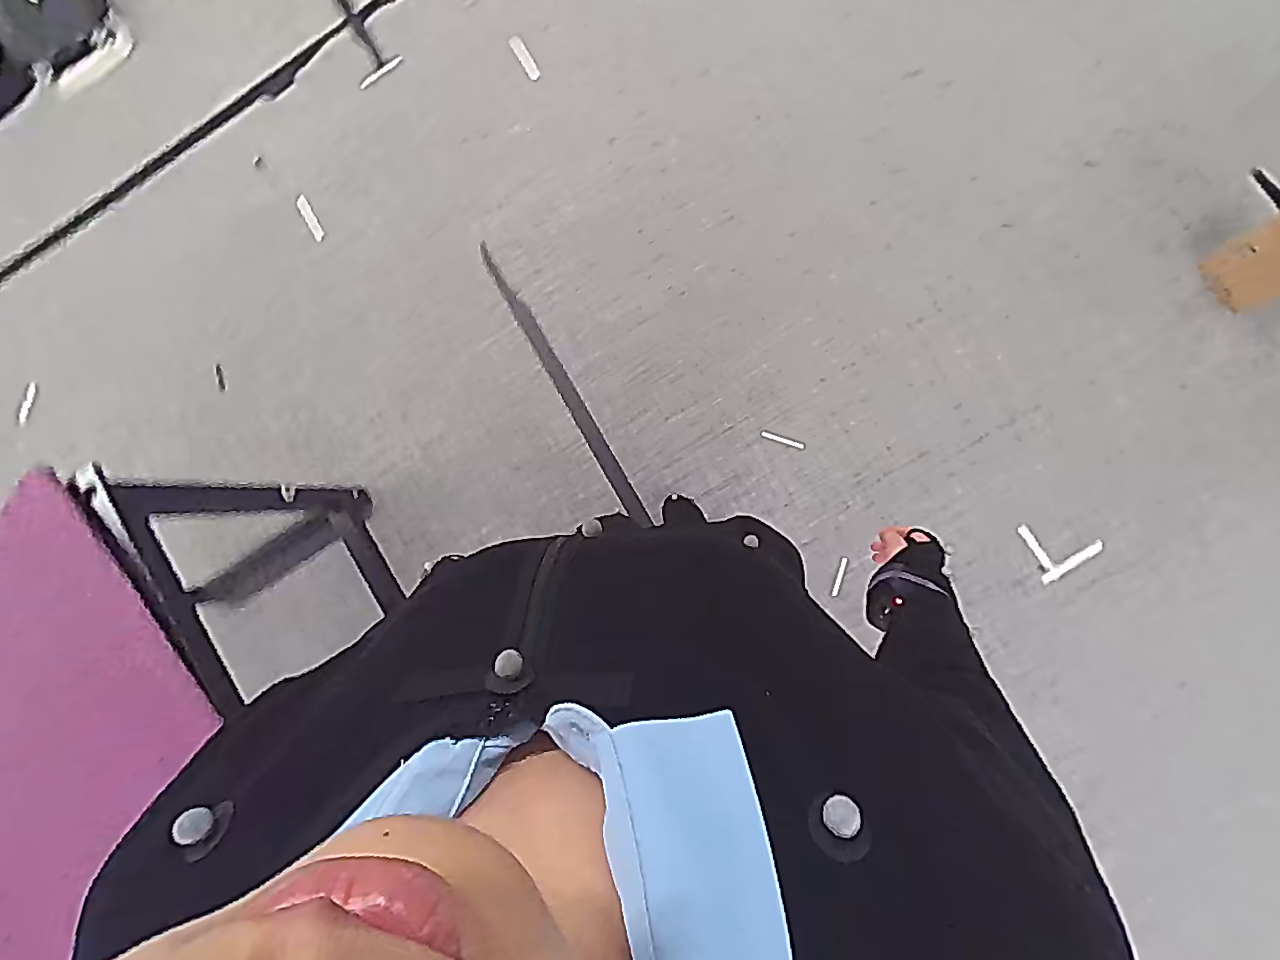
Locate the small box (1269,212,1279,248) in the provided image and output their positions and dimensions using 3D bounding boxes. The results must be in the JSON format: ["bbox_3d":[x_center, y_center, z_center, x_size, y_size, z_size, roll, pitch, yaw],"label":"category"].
[{"bbox_3d":[1.522,-0.559,1.147,0.179,0.176,0.168,-27,85,3],"label":"small box"}]
